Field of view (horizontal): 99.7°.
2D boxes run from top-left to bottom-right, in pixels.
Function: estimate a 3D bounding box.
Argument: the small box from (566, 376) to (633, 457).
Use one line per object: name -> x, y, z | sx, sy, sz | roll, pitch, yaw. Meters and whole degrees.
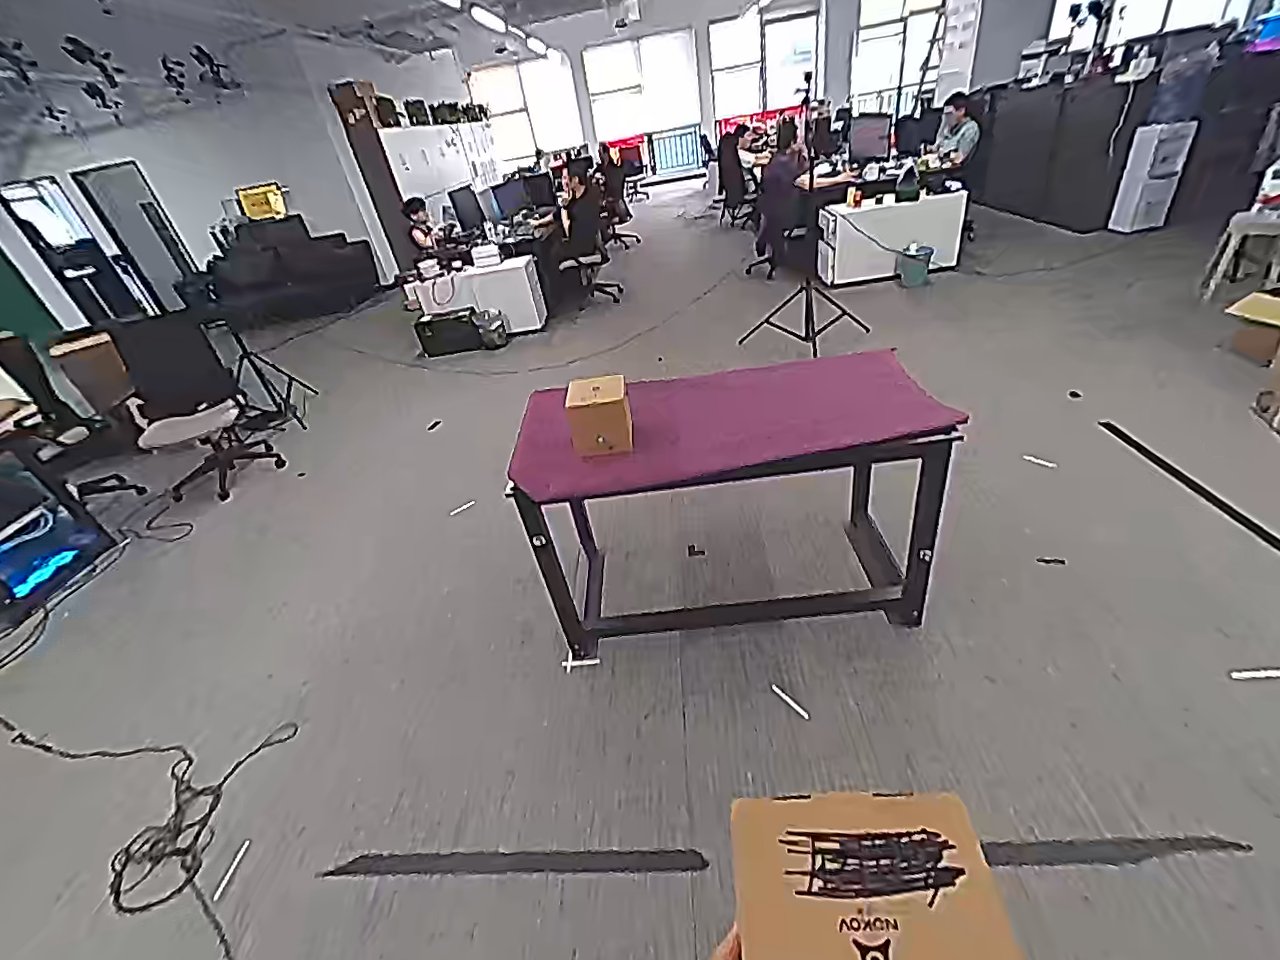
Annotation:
small box -> -0.114, -0.186, 1.587 | 0.168, 0.176, 0.179 | -7, 34, 3
